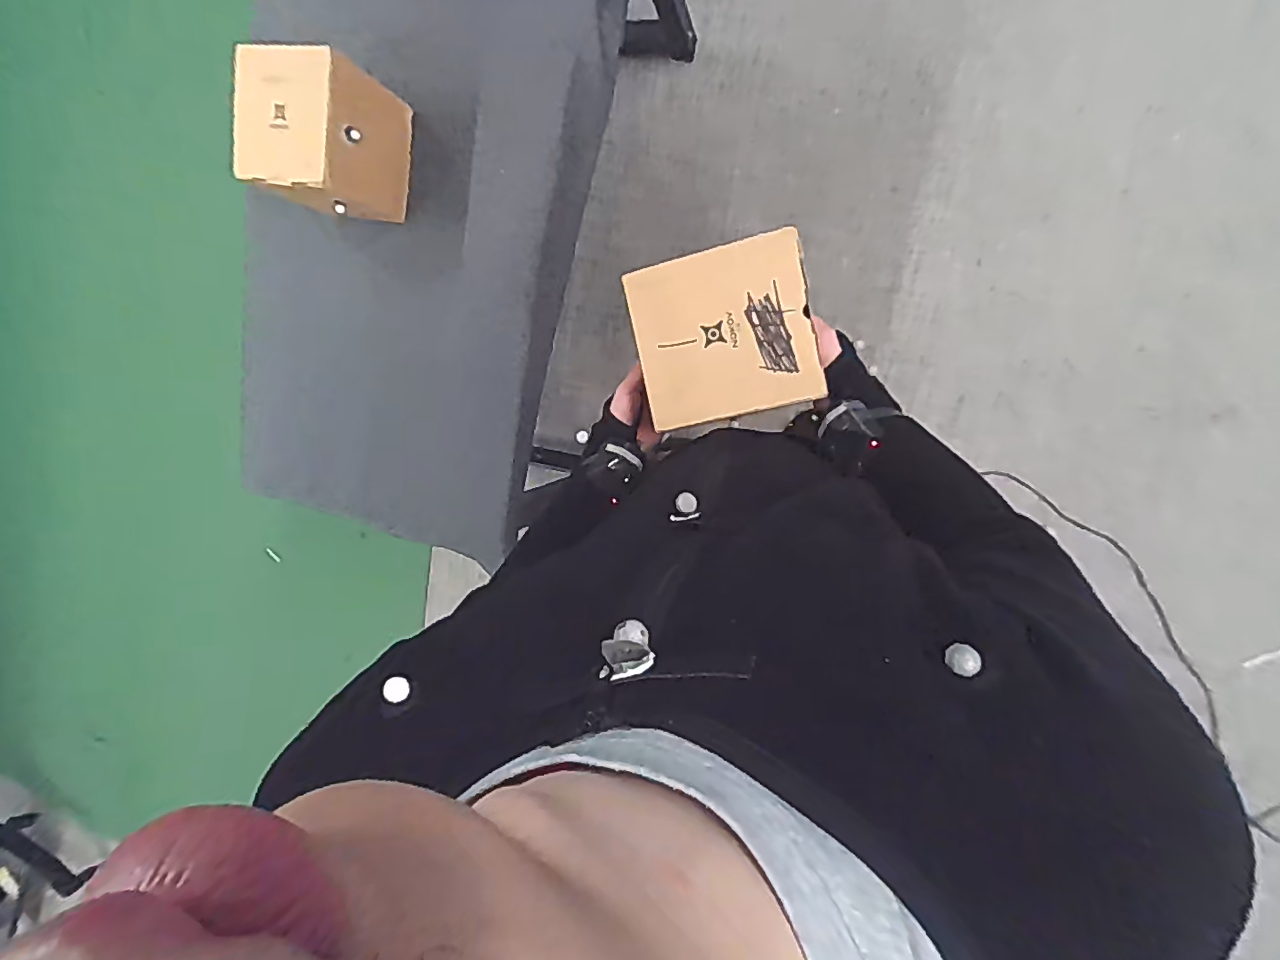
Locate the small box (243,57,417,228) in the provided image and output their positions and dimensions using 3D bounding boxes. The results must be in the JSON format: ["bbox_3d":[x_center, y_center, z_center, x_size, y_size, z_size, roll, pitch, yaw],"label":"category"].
[{"bbox_3d":[-0.469,-0.508,0.836,0.168,0.176,0.179,12,100,14],"label":"small box"}]
